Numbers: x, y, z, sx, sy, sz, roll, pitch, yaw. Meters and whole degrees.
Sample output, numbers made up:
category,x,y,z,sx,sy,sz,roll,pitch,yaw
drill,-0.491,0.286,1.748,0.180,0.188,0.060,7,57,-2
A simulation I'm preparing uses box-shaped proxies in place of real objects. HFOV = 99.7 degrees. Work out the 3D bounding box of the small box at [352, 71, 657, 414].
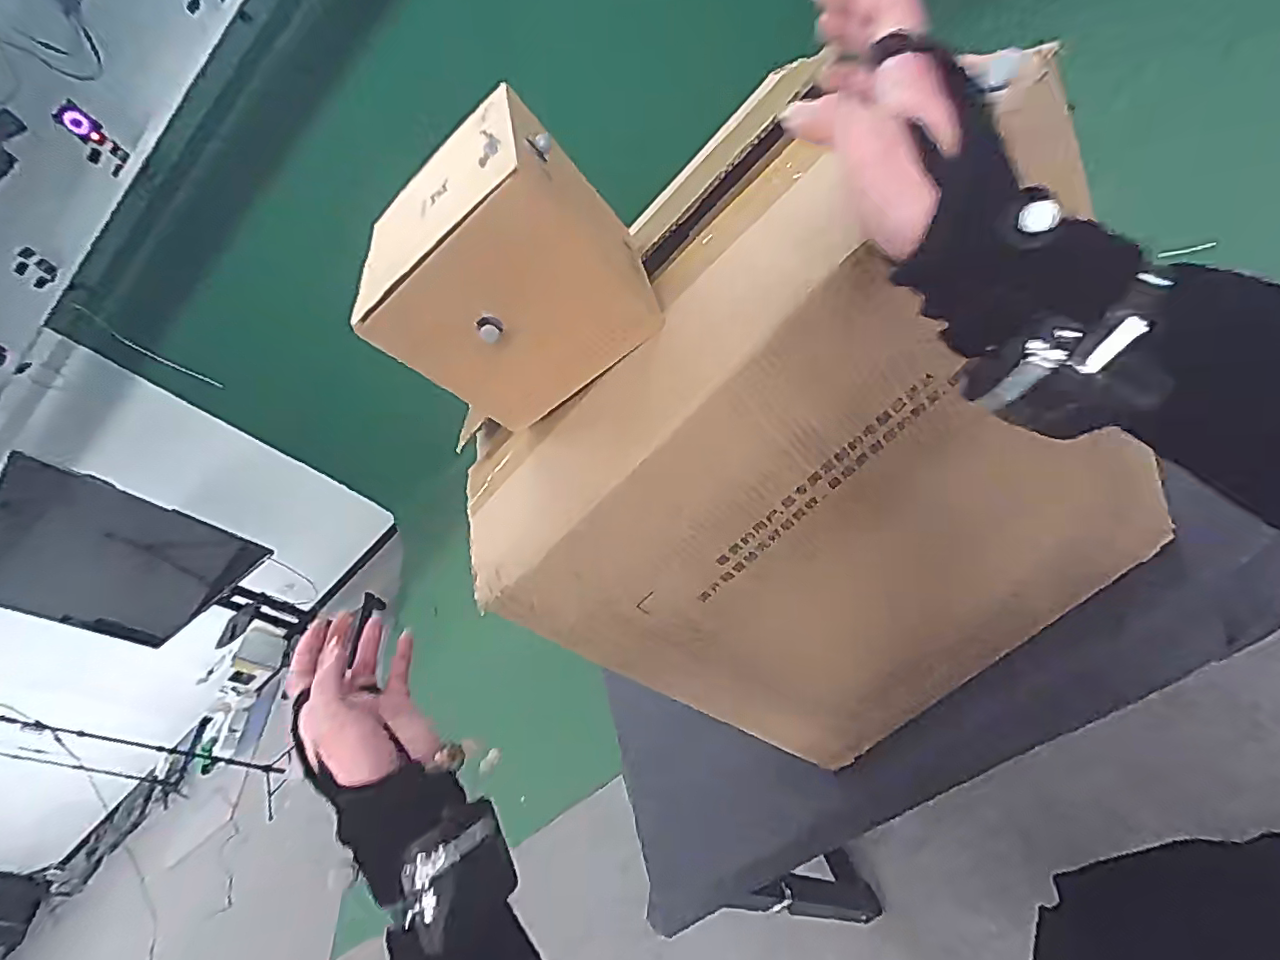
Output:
category,x,y,z,sx,sy,sz,roll,pitch,yaw
small box,-0.112,-0.187,0.469,0.179,0.176,0.168,-32,51,23
